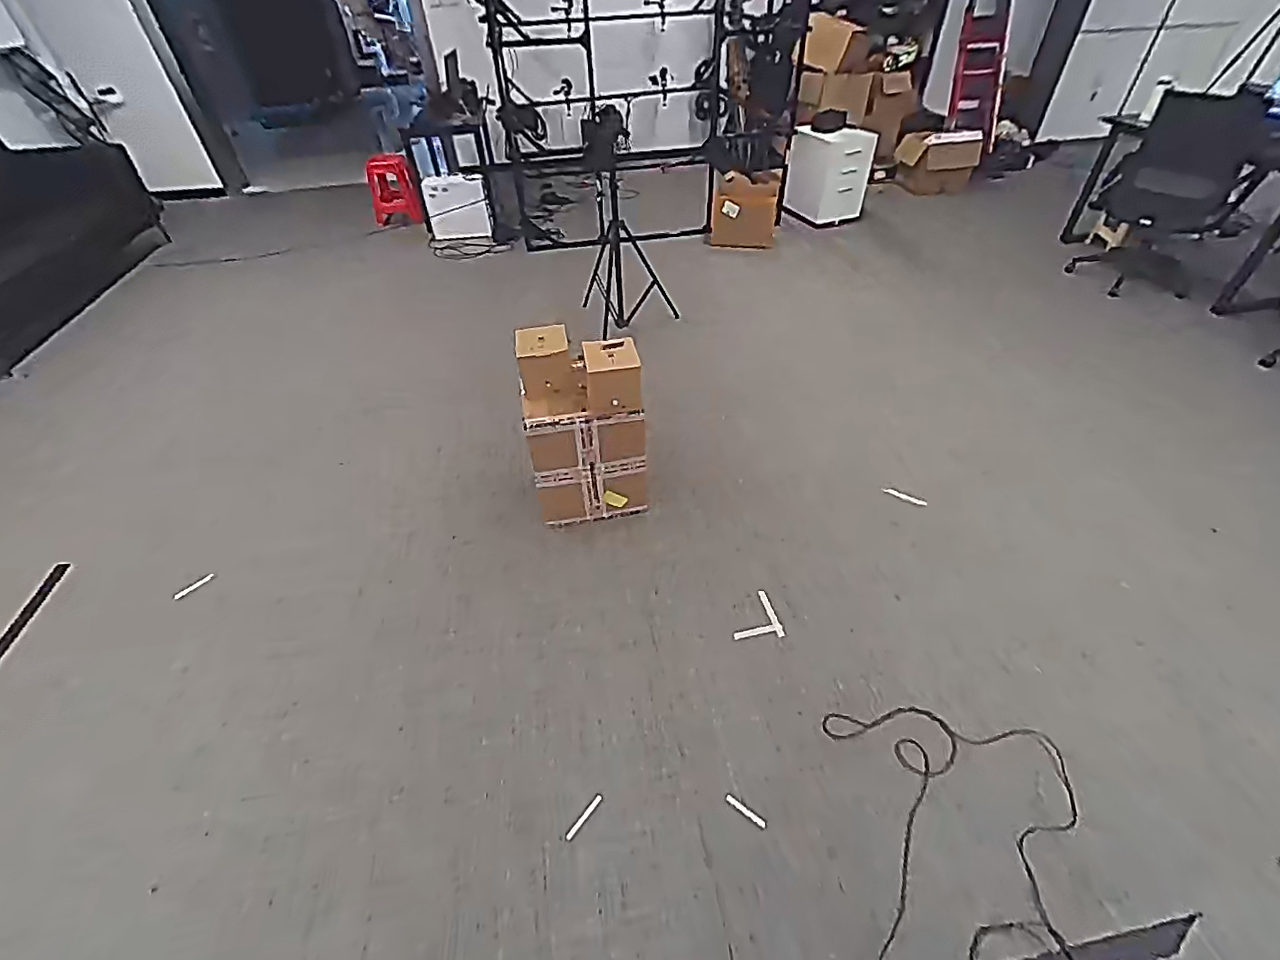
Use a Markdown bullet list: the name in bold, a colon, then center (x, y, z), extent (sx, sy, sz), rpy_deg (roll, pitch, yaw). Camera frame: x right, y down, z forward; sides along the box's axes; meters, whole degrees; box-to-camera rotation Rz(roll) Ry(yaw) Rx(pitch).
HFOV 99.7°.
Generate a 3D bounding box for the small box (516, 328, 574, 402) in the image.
- **small box**: center (-0.319, -0.385, 1.817), extent (0.168, 0.176, 0.179), rpy_deg (-9, 45, -5)

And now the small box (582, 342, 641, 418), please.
- **small box**: center (-0.094, -0.324, 1.747), extent (0.168, 0.176, 0.179), rpy_deg (-8, 46, -7)
